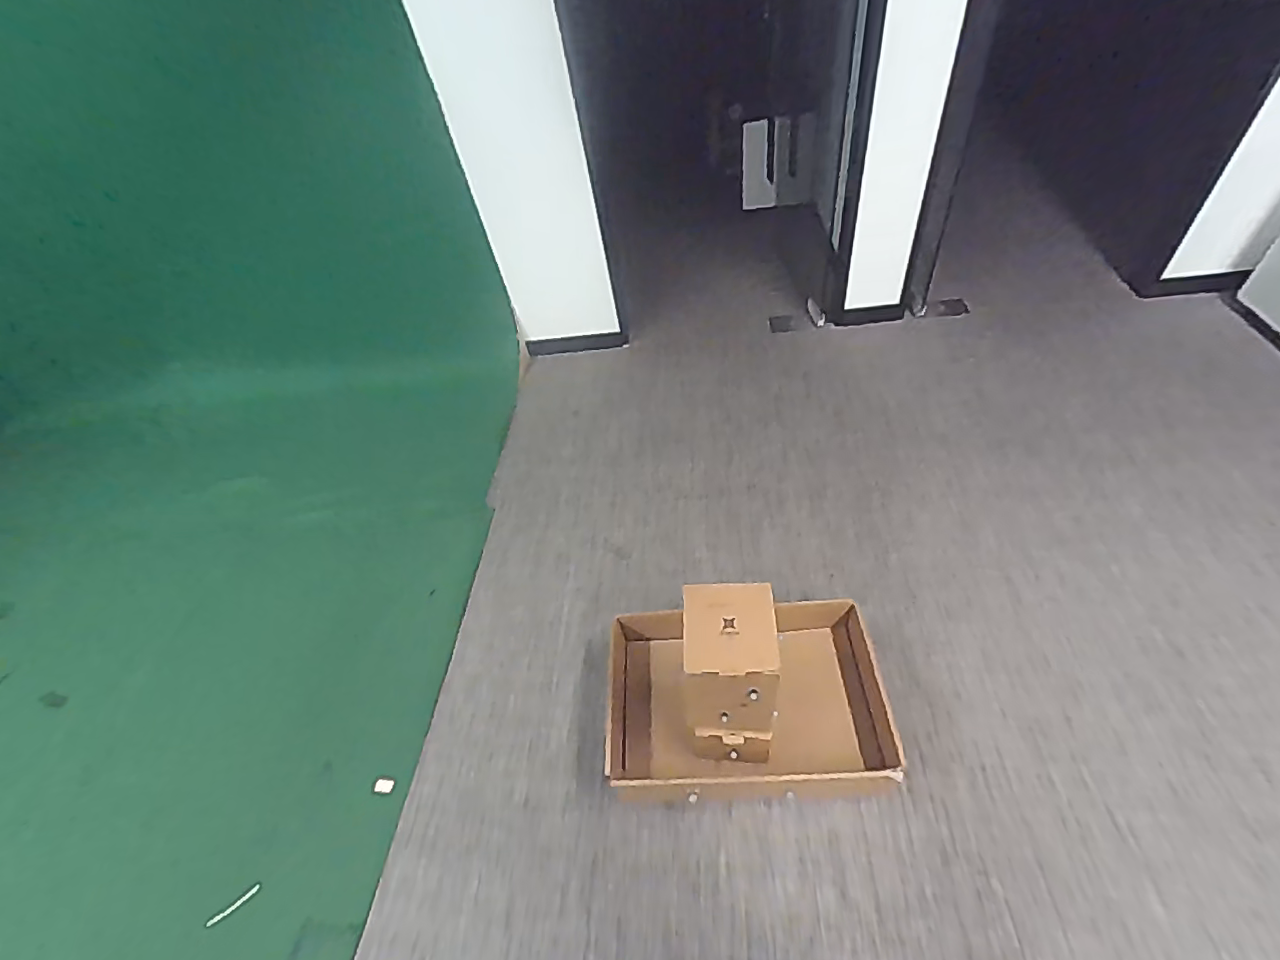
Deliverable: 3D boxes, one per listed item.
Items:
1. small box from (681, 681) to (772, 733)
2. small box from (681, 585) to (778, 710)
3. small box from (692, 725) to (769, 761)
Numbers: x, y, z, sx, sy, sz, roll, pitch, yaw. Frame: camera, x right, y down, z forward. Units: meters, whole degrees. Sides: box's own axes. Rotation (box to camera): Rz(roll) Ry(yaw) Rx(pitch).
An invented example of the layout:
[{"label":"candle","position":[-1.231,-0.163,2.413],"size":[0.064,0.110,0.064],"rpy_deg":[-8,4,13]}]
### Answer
[{"label":"small box","position":[0.188,0.419,1.142],"size":[0.179,0.176,0.168],"rpy_deg":[1,47,13]},{"label":"small box","position":[0.165,0.317,1.018],"size":[0.168,0.176,0.179],"rpy_deg":[-2,46,7]},{"label":"small box","position":[0.212,0.536,1.255],"size":[0.168,0.176,0.179],"rpy_deg":[0,49,10]}]
